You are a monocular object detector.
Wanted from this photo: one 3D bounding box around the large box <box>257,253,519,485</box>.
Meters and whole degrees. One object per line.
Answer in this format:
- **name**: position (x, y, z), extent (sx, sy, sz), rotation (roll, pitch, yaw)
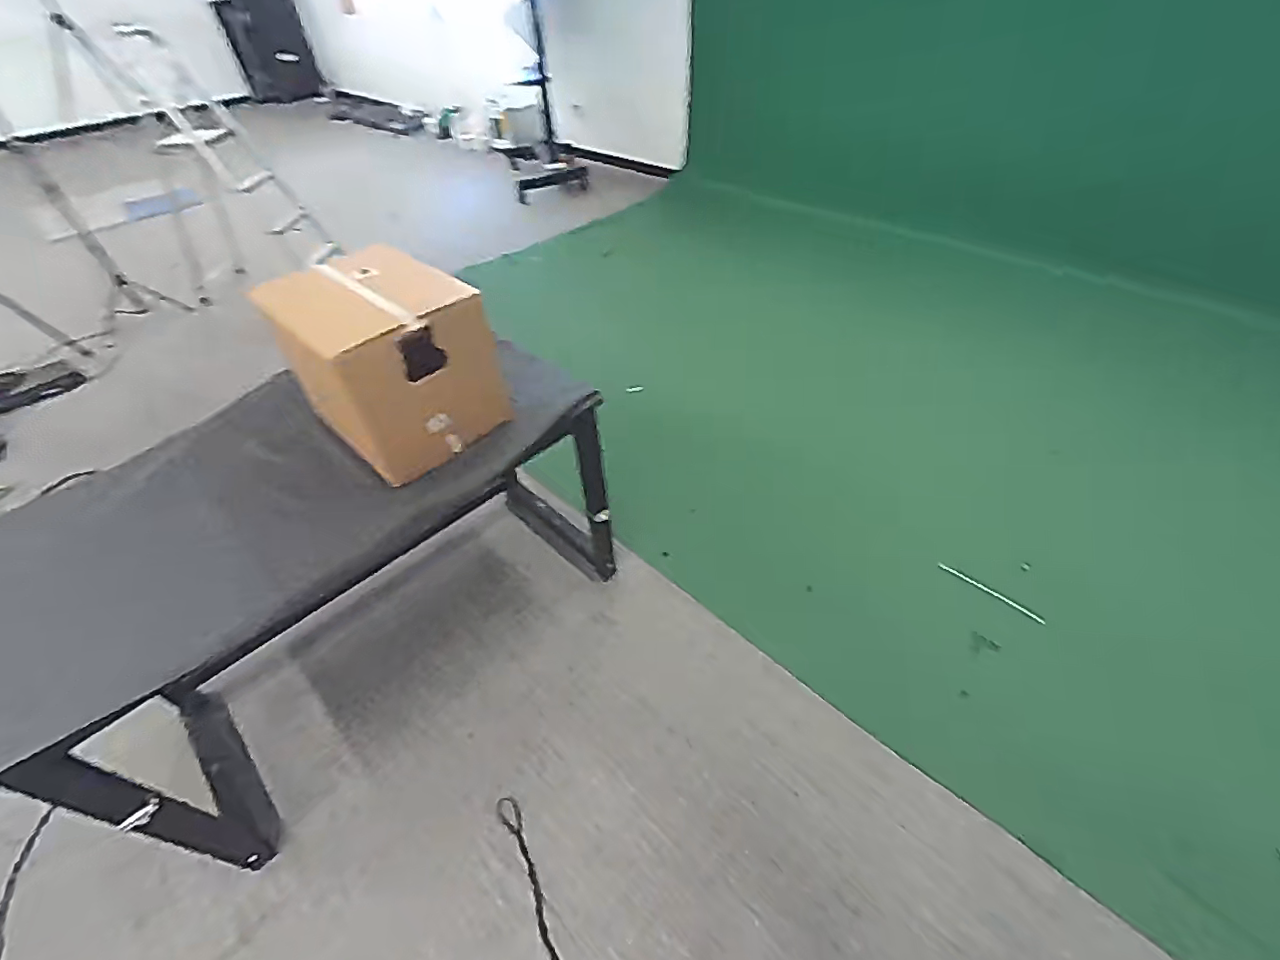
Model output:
- **large box**: position (-0.535, -0.256, 1.191), extent (0.408, 0.320, 0.320), rotation (32, 54, 32)
